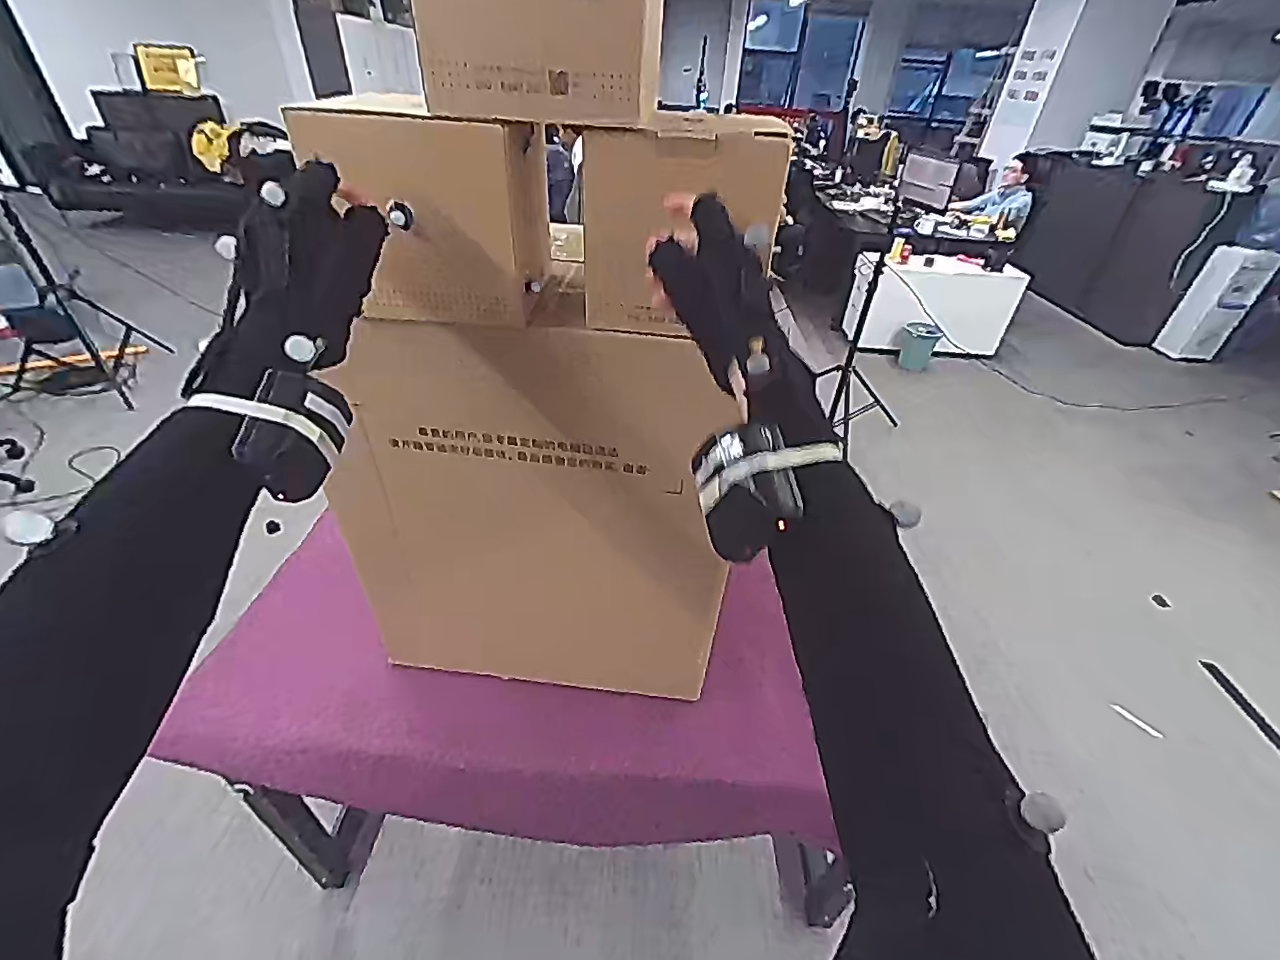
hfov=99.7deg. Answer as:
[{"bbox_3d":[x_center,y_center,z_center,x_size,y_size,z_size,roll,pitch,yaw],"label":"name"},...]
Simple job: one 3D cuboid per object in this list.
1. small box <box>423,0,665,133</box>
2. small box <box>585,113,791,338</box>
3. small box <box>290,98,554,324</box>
[{"bbox_3d":[-0.066,-0.387,0.435,0.168,0.176,0.179,6,37,2],"label":"small box"},{"bbox_3d":[0.045,-0.254,0.536,0.168,0.176,0.179,6,38,3],"label":"small box"},{"bbox_3d":[-0.185,-0.263,0.530,0.179,0.176,0.168,3,37,1],"label":"small box"}]
